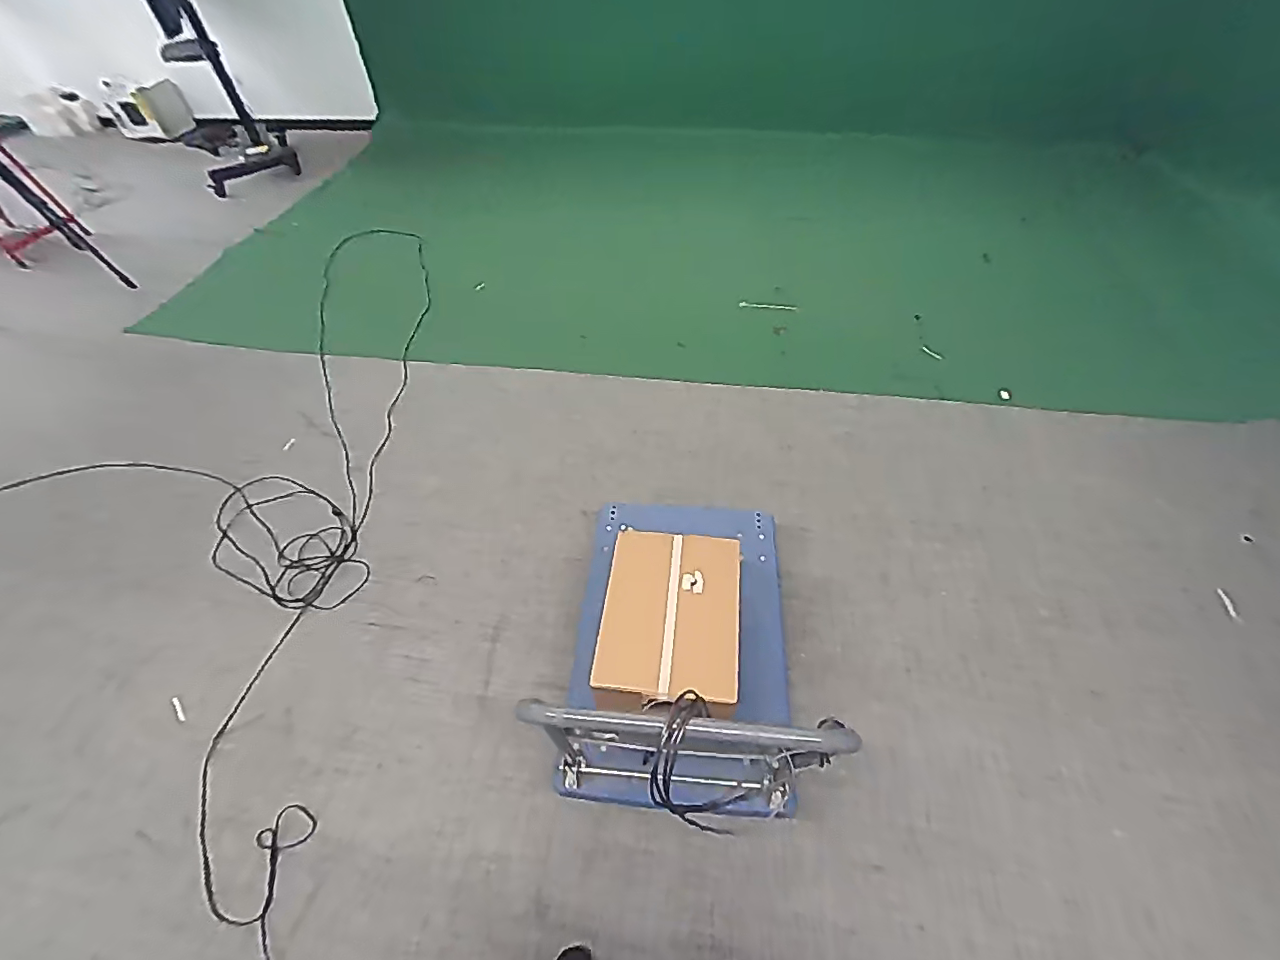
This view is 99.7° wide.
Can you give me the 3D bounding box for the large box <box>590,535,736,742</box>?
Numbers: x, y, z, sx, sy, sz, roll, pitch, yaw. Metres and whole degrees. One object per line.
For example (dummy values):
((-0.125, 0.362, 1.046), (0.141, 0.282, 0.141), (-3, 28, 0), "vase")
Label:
((0.072, 0.399, 1.366), (0.320, 0.320, 0.408), (5, 50, 6), "large box")
